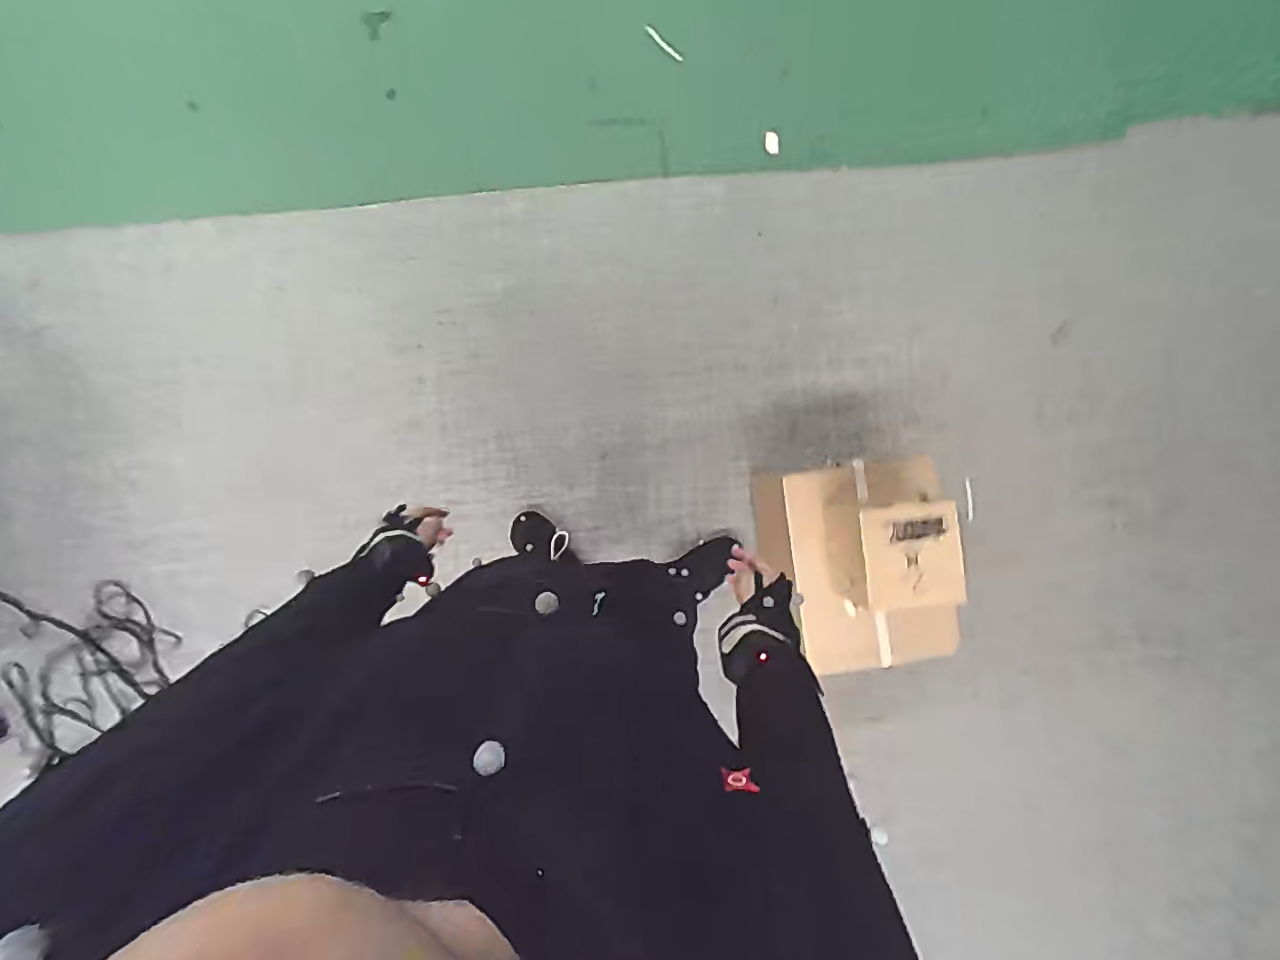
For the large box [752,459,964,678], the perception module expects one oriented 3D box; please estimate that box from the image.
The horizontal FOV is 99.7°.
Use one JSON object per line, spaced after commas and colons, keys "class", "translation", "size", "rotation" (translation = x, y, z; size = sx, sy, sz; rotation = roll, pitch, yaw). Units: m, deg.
{"class": "large box", "translation": [0.462, 0.174, 1.218], "size": [0.320, 0.320, 0.408], "rotation": [-8, 91, 0]}
